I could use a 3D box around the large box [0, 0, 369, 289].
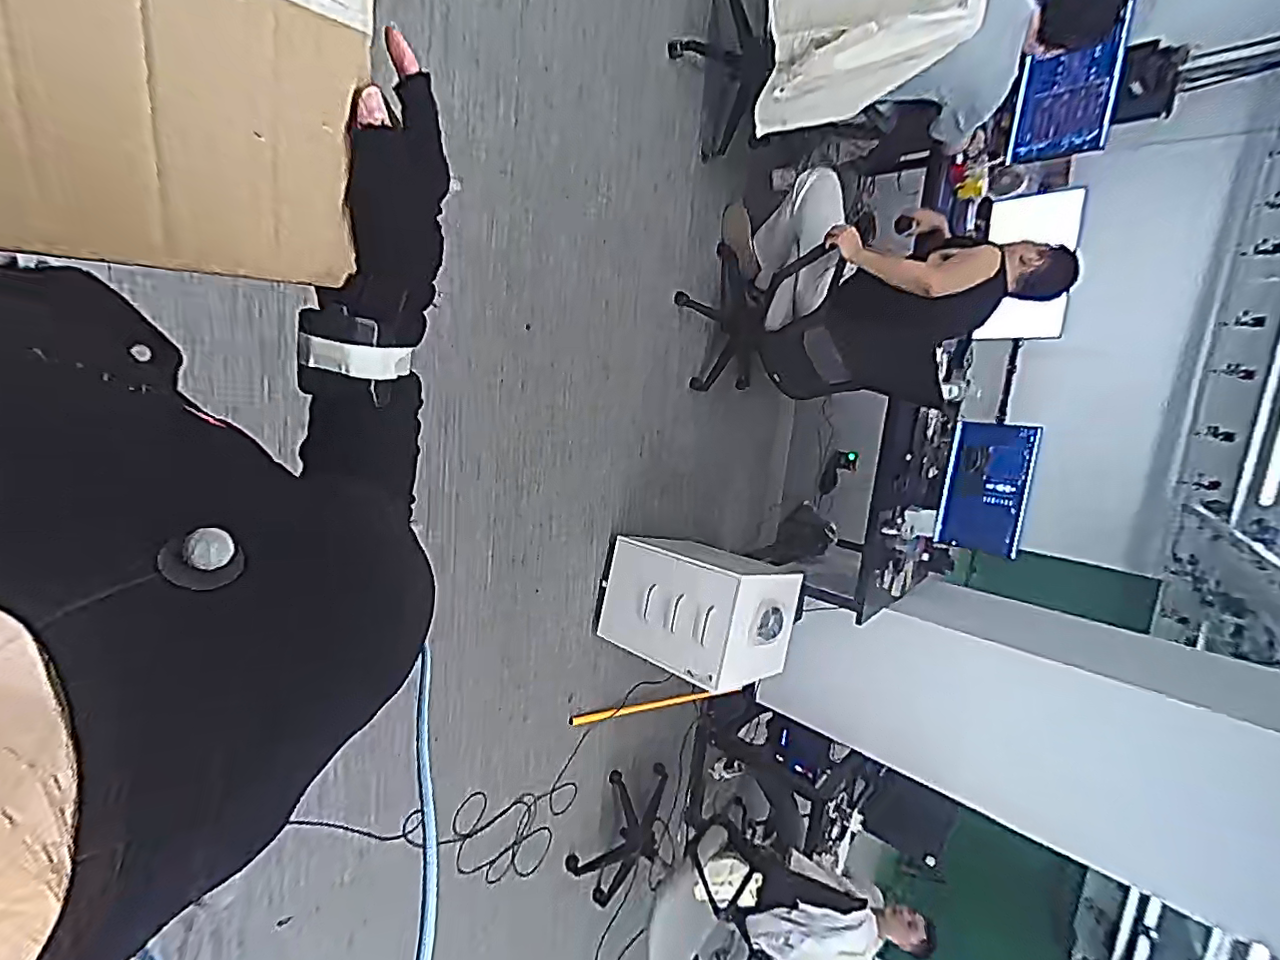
[{"bbox_3d":[-0.398,-0.314,0.265,0.408,0.320,0.320,-10,129,-44],"label":"large box"}]
